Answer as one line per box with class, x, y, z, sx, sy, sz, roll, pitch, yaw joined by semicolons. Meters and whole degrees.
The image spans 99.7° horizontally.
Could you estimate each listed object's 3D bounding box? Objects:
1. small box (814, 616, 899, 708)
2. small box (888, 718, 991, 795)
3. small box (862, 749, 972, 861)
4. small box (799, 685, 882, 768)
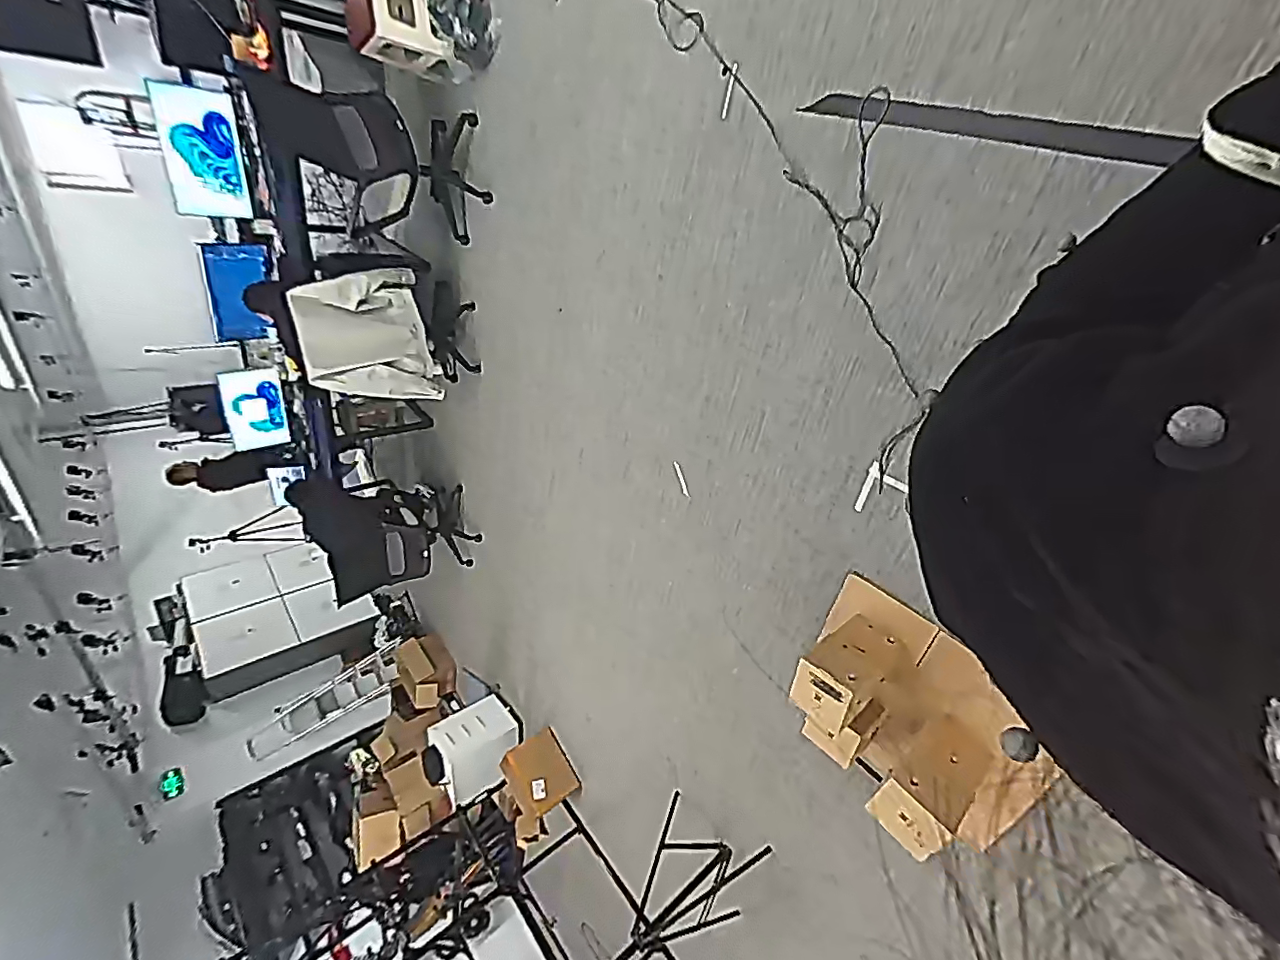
small box;0.677;0.556;1.679;0.168;0.176;0.179;32;127;38
small box;0.864;0.819;1.558;0.179;0.176;0.168;39;130;33
small box;0.743;0.860;1.454;0.179;0.176;0.168;40;131;32
small box;0.663;0.794;1.788;0.179;0.176;0.168;32;127;38
